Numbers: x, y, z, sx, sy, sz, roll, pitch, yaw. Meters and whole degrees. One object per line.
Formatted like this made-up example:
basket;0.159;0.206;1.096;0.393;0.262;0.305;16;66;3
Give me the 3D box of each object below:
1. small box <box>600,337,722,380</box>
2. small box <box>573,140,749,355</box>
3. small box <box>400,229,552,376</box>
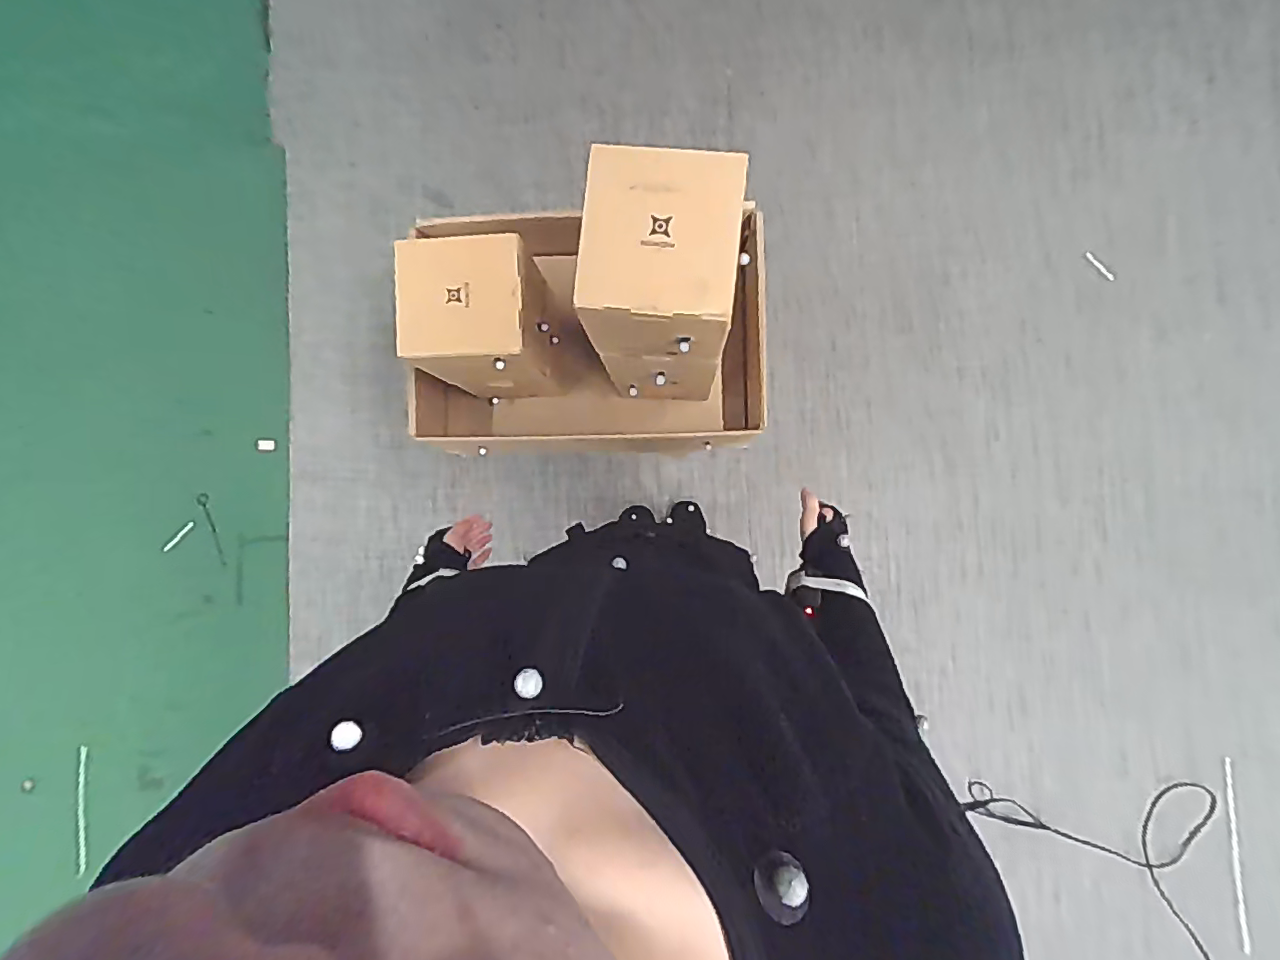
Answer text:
small box;0.042;-0.250;0.798;0.168;0.176;0.179;5;90;5
small box;0.027;-0.256;0.635;0.168;0.176;0.179;7;88;4
small box;-0.240;-0.257;0.822;0.179;0.176;0.168;-2;88;3
